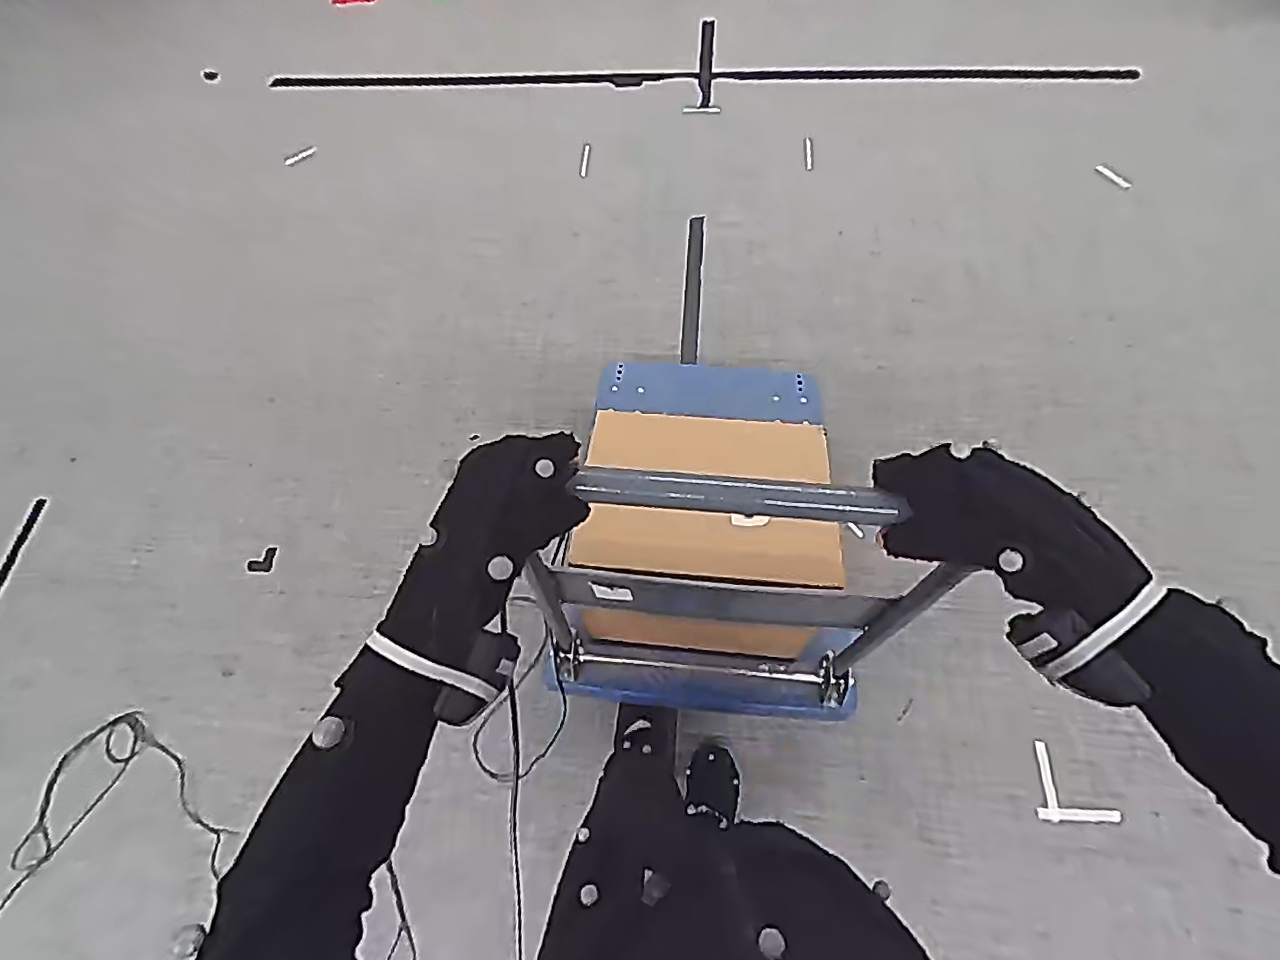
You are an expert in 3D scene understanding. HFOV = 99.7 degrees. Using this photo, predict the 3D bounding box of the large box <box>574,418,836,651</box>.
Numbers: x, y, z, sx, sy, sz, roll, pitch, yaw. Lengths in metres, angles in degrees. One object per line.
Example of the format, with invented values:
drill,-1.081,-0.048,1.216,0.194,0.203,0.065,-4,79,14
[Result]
large box,0.105,0.108,1.016,0.408,0.320,0.320,5,54,3
